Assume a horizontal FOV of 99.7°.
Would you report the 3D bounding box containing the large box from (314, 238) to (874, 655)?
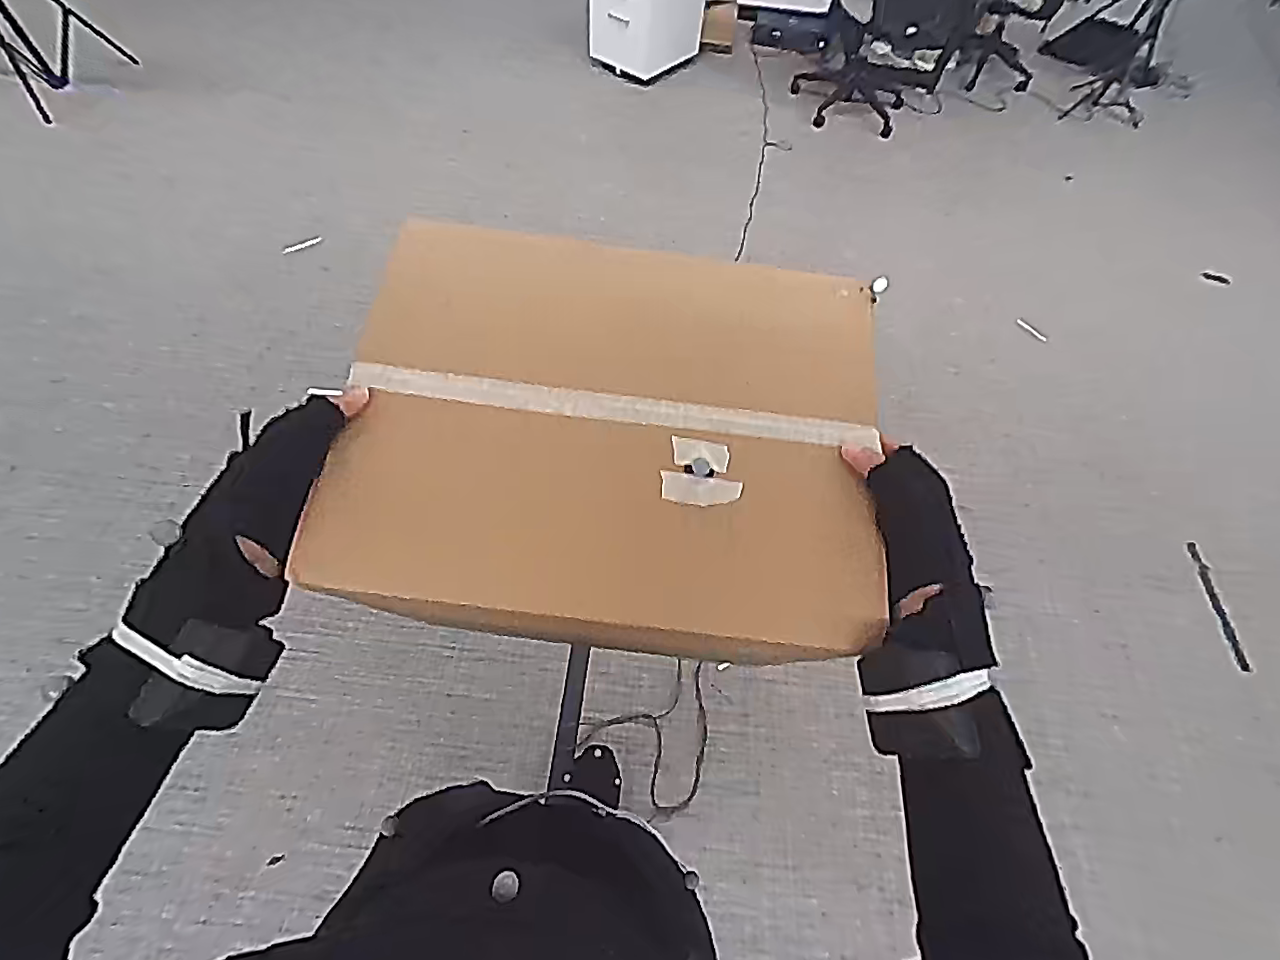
[{"bbox_3d":[-0.027,0.000,0.568,0.408,0.320,0.320,7,71,-2],"label":"large box"}]
